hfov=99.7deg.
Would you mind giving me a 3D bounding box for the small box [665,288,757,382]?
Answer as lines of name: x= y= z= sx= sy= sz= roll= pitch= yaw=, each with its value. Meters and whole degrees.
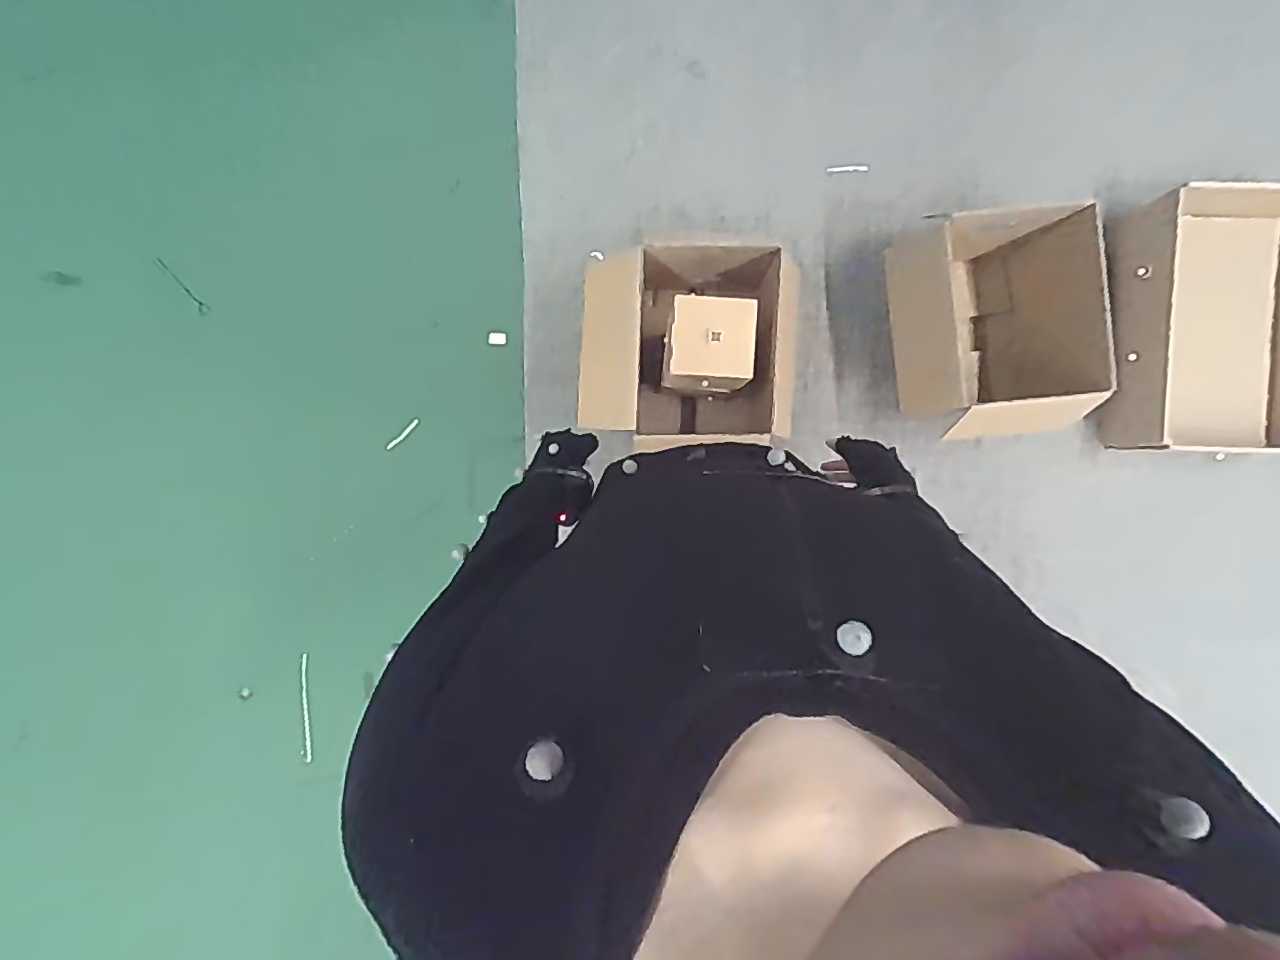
small box: x=0.152 y=-0.314 z=1.201 sx=0.179 sy=0.176 sz=0.168 roll=3 pitch=92 yaw=0
